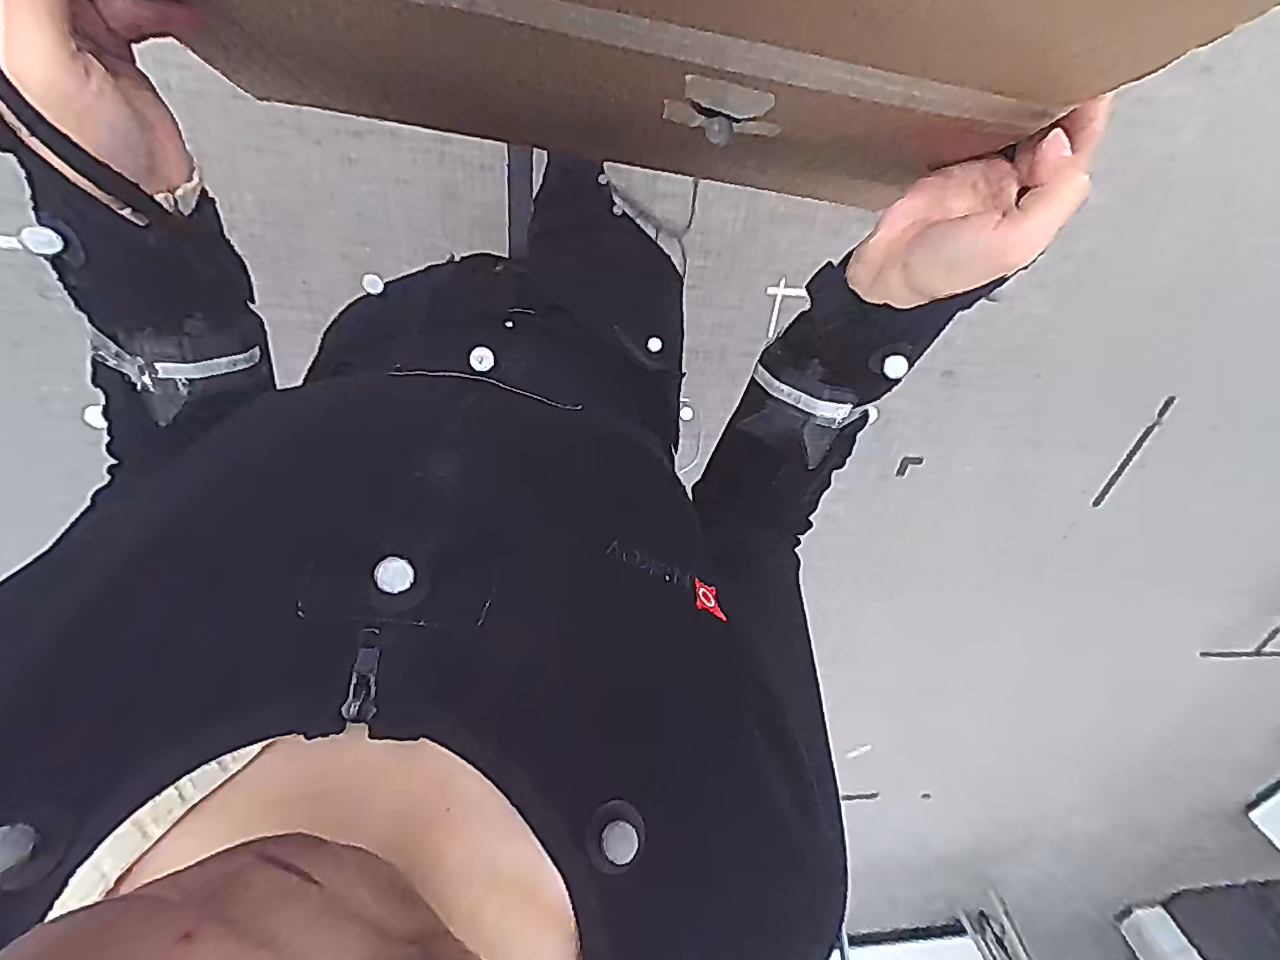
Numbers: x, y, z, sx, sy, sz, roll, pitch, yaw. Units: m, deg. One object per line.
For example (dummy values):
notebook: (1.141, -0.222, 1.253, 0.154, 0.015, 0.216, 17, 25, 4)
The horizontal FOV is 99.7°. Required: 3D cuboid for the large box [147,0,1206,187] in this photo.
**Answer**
large box: (-0.005, -0.333, 0.173, 0.408, 0.320, 0.320, 6, 103, -6)
